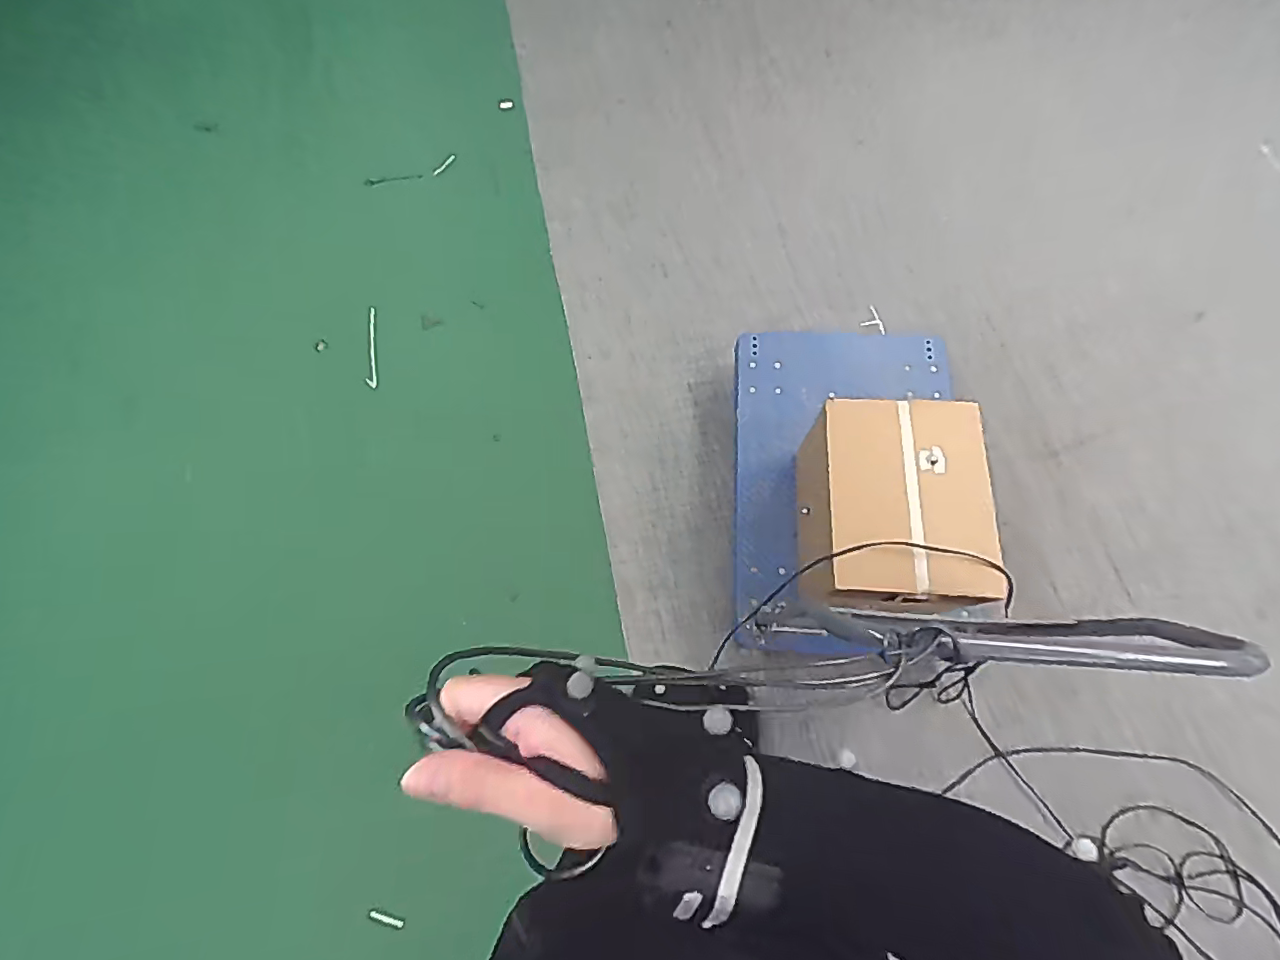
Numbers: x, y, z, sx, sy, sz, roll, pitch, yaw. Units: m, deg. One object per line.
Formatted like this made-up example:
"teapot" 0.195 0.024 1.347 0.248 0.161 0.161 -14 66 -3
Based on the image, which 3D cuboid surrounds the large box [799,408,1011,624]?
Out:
"large box" 0.542 0.094 1.194 0.320 0.320 0.408 3 70 4
